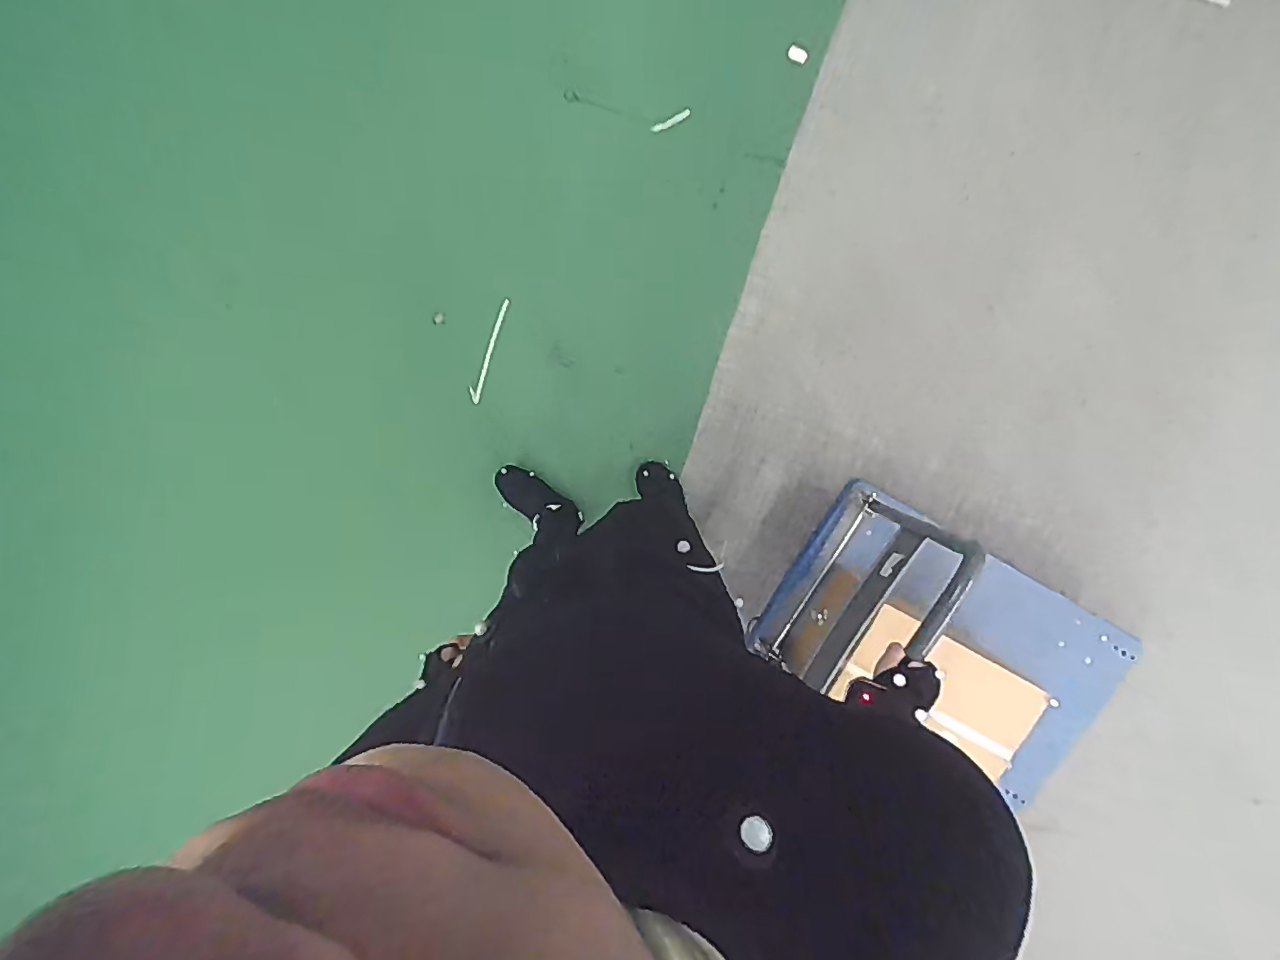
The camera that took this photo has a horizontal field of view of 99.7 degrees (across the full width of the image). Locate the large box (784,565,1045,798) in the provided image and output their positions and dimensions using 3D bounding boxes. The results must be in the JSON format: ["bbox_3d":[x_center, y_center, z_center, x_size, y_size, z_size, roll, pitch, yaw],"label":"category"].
[{"bbox_3d":[0.623,0.457,1.310,0.408,0.320,0.320,29,98,0],"label":"large box"}]
